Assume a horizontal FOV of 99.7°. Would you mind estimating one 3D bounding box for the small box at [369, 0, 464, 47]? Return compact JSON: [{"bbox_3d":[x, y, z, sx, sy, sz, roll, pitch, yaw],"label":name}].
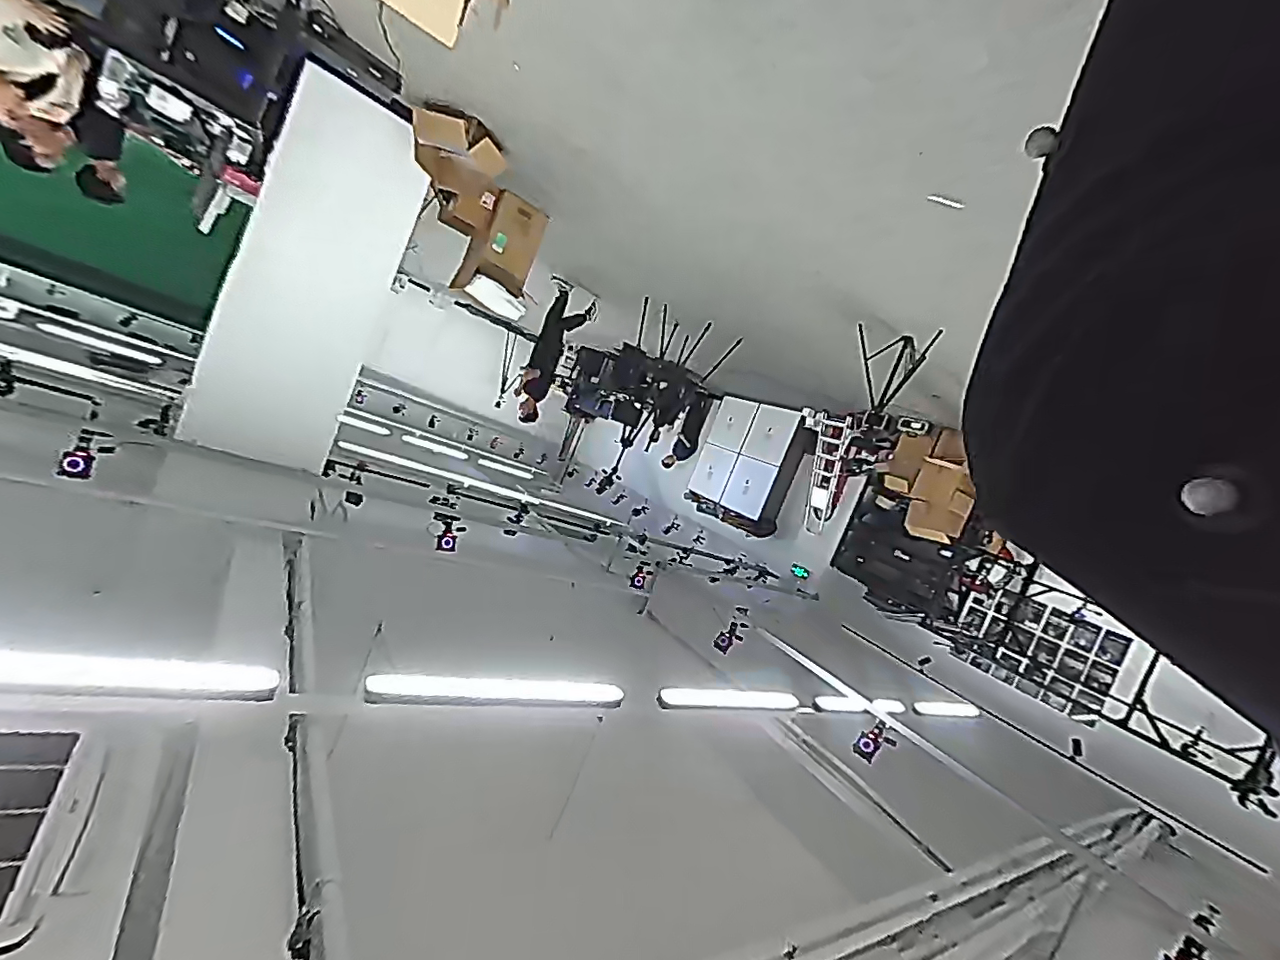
[{"bbox_3d":[-0.149,-0.411,0.295,0.179,0.176,0.168,21,-176,-30],"label":"small box"}]
